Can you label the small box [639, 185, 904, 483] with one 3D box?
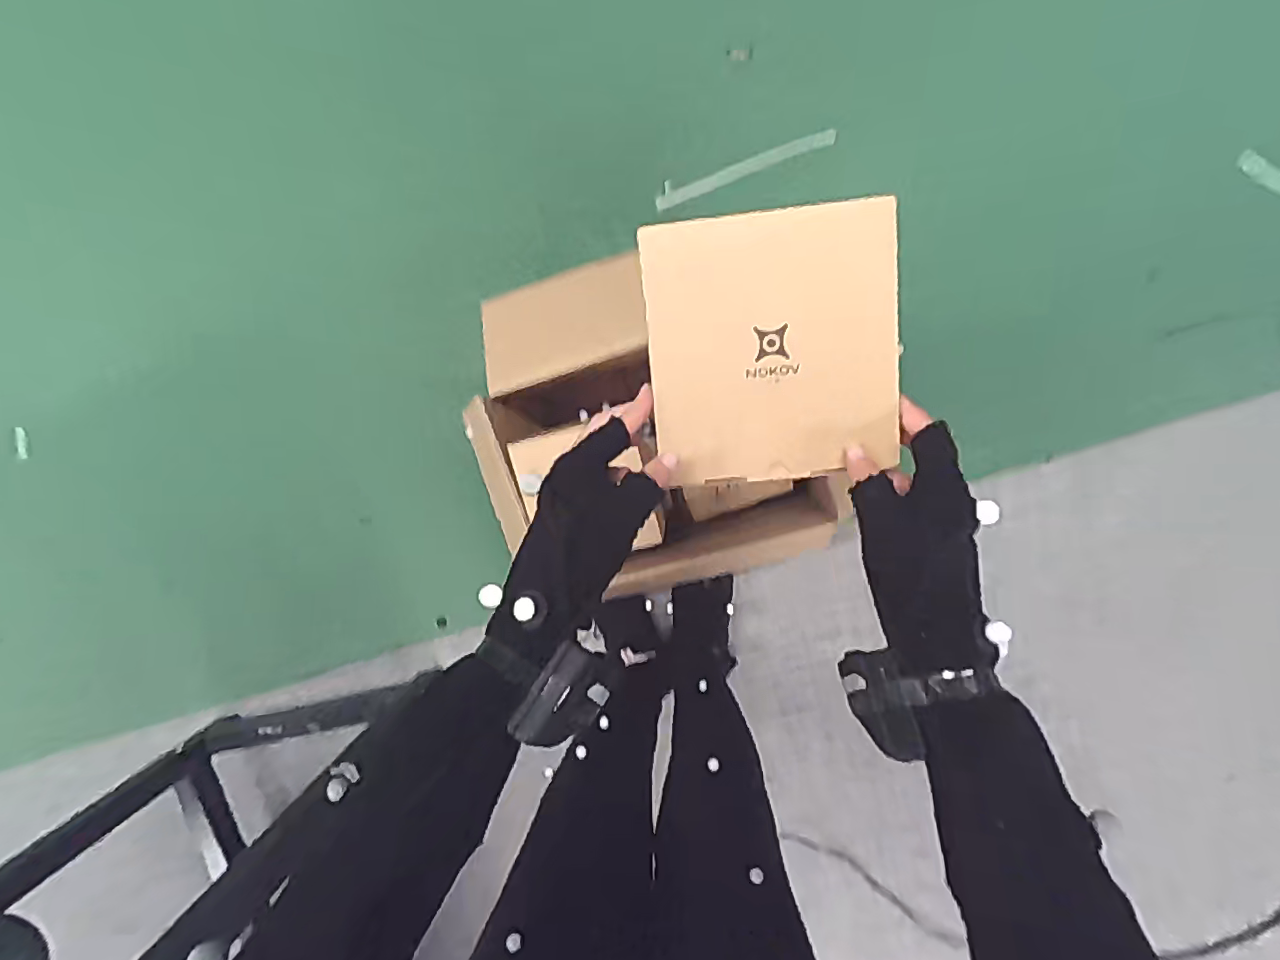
[{"bbox_3d":[0.091,-0.104,0.429,0.168,0.176,0.179,-6,102,5],"label":"small box"}]
